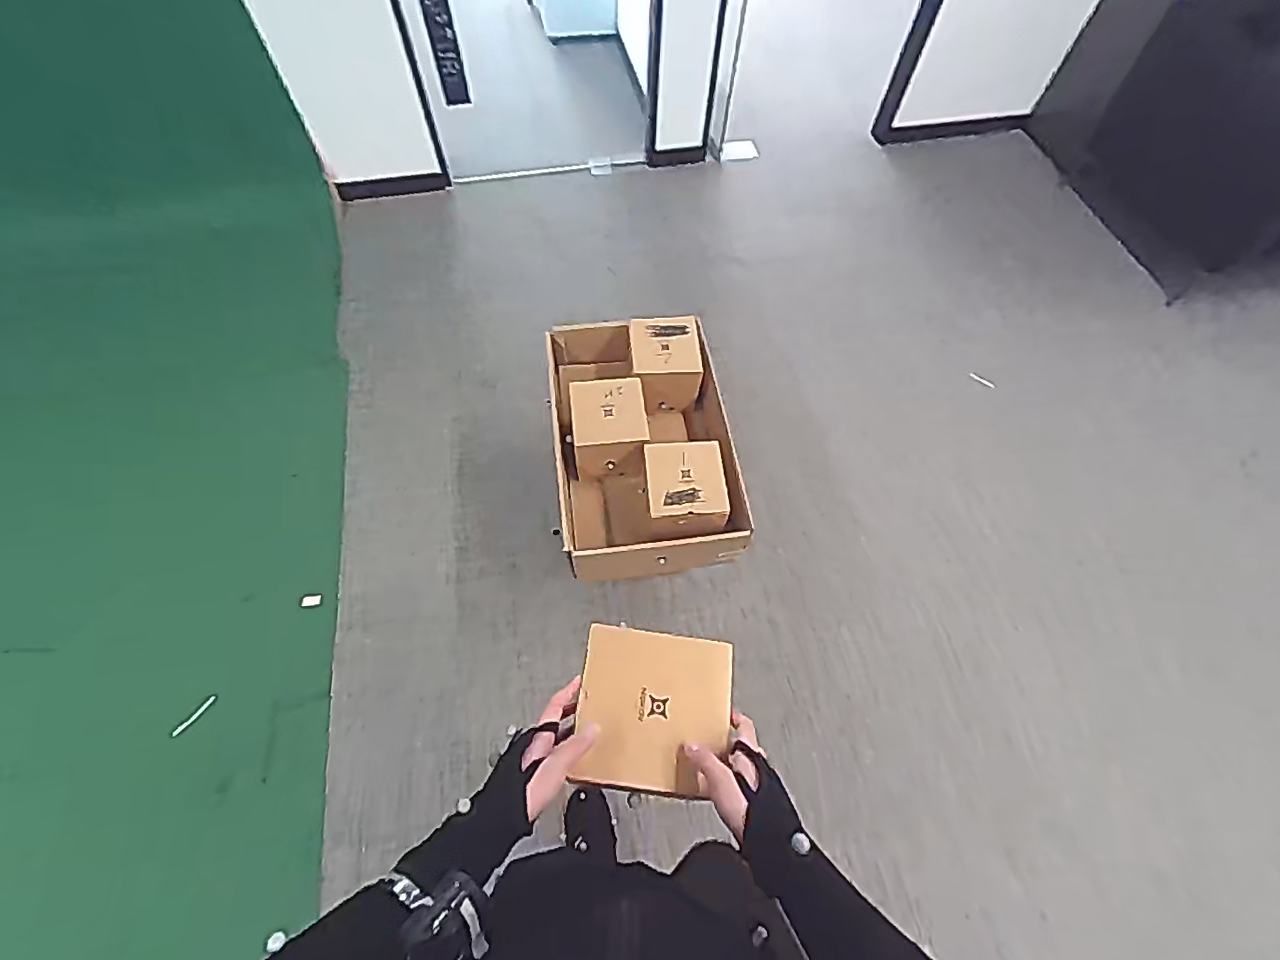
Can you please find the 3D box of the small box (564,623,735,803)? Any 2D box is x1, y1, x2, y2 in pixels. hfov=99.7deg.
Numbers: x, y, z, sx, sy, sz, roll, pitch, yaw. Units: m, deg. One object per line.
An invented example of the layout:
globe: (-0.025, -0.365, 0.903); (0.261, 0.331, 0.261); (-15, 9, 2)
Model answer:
small box: (0.011, 0.291, 0.668); (0.179, 0.176, 0.168); (8, 59, 0)

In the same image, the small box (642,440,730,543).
small box: (0.094, 0.032, 1.192); (0.168, 0.176, 0.179); (-3, 62, -4)

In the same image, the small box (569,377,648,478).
small box: (-0.073, -0.115, 1.265); (0.168, 0.176, 0.179); (-5, 63, -6)
